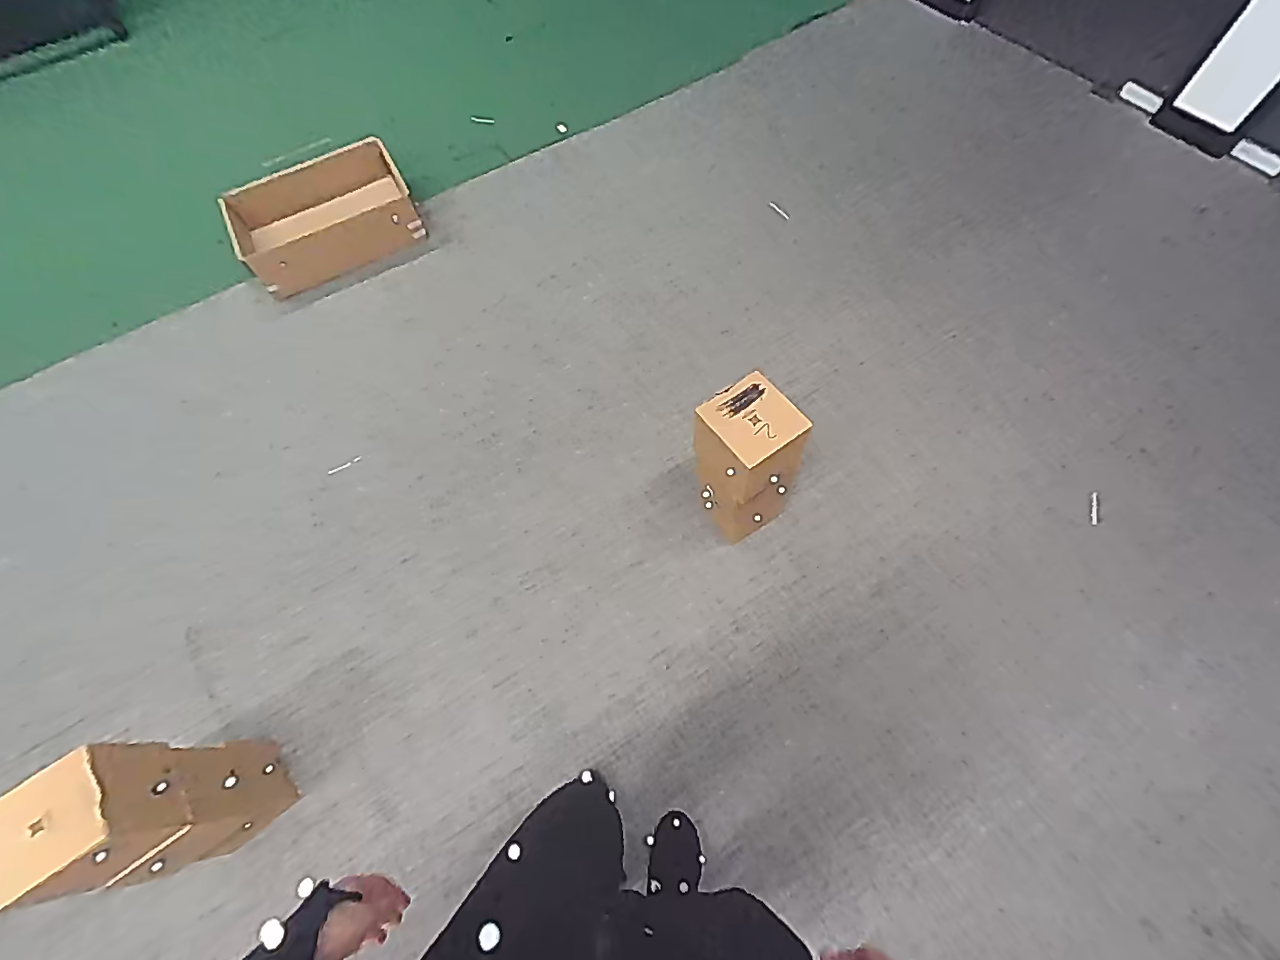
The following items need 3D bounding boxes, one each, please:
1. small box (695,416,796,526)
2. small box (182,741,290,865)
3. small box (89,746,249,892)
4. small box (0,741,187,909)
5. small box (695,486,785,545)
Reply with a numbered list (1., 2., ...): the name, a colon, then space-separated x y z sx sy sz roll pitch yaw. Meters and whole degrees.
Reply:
1. small box: 0.244 -0.017 1.306 0.179 0.176 0.168 -30 64 -9
2. small box: -0.927 0.712 1.210 0.179 0.176 0.168 -38 67 -13
3. small box: -0.924 0.650 1.058 0.179 0.176 0.168 -34 67 -13
4. small box: -0.934 0.572 0.915 0.179 0.176 0.168 -35 67 -14
5. small box: 0.259 0.045 1.456 0.168 0.176 0.179 -30 65 -10
